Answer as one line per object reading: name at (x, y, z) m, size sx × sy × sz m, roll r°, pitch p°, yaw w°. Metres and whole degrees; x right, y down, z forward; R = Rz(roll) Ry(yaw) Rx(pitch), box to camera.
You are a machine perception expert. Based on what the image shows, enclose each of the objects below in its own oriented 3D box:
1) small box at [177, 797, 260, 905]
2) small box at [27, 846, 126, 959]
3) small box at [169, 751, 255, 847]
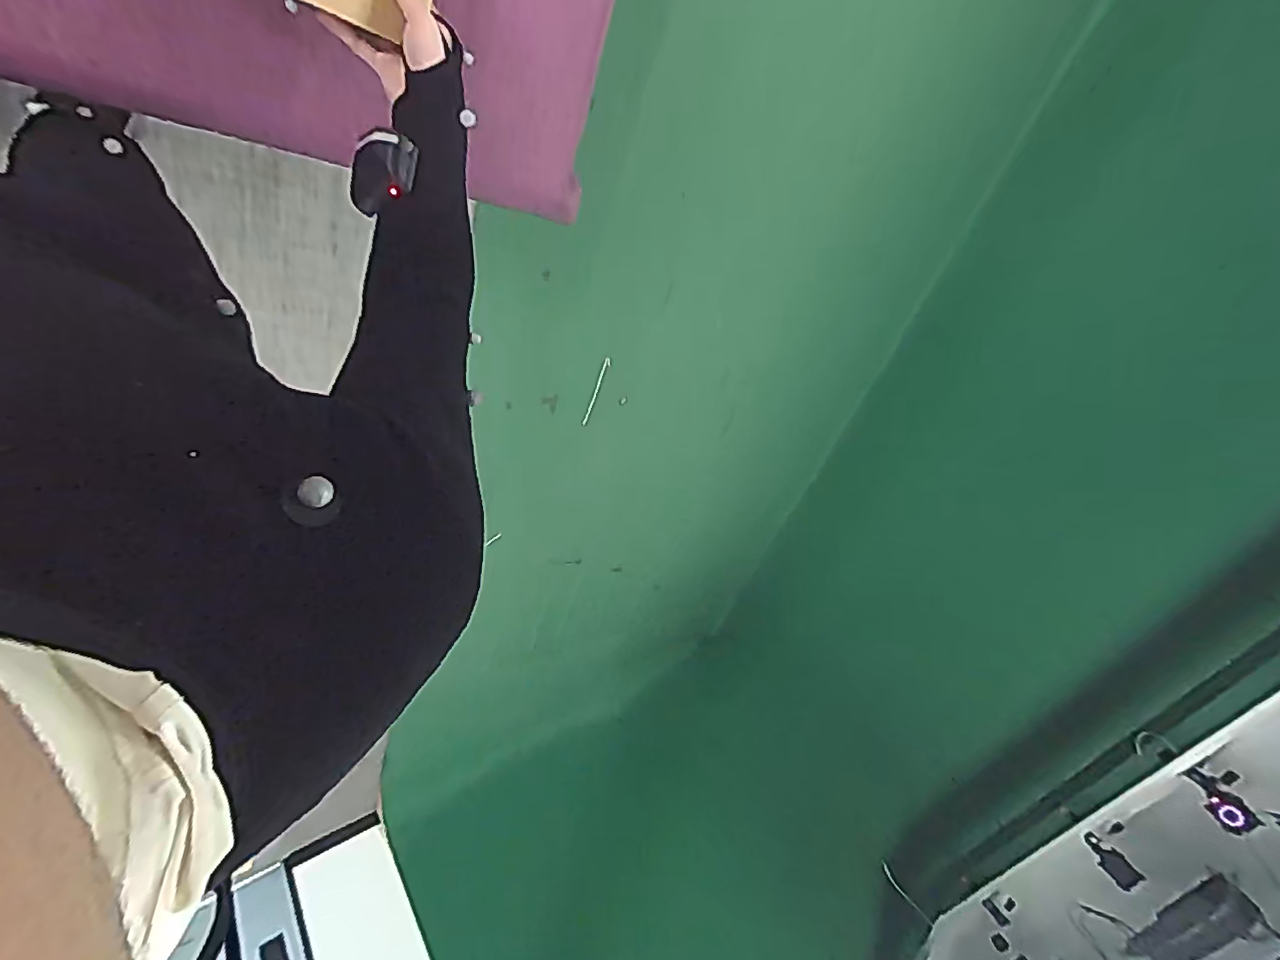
small box at (-1.235, 1.075, 1.580) m, size 0.168 × 0.176 × 0.179 m, roll 2°, pitch 124°, yaw -47°
small box at (-1.427, 1.072, 1.370) m, size 0.168 × 0.176 × 0.179 m, roll 2°, pitch 125°, yaw -46°
small box at (-1.326, 0.976, 1.674) m, size 0.179 × 0.176 × 0.168 m, roll 4°, pitch 122°, yaw -47°
